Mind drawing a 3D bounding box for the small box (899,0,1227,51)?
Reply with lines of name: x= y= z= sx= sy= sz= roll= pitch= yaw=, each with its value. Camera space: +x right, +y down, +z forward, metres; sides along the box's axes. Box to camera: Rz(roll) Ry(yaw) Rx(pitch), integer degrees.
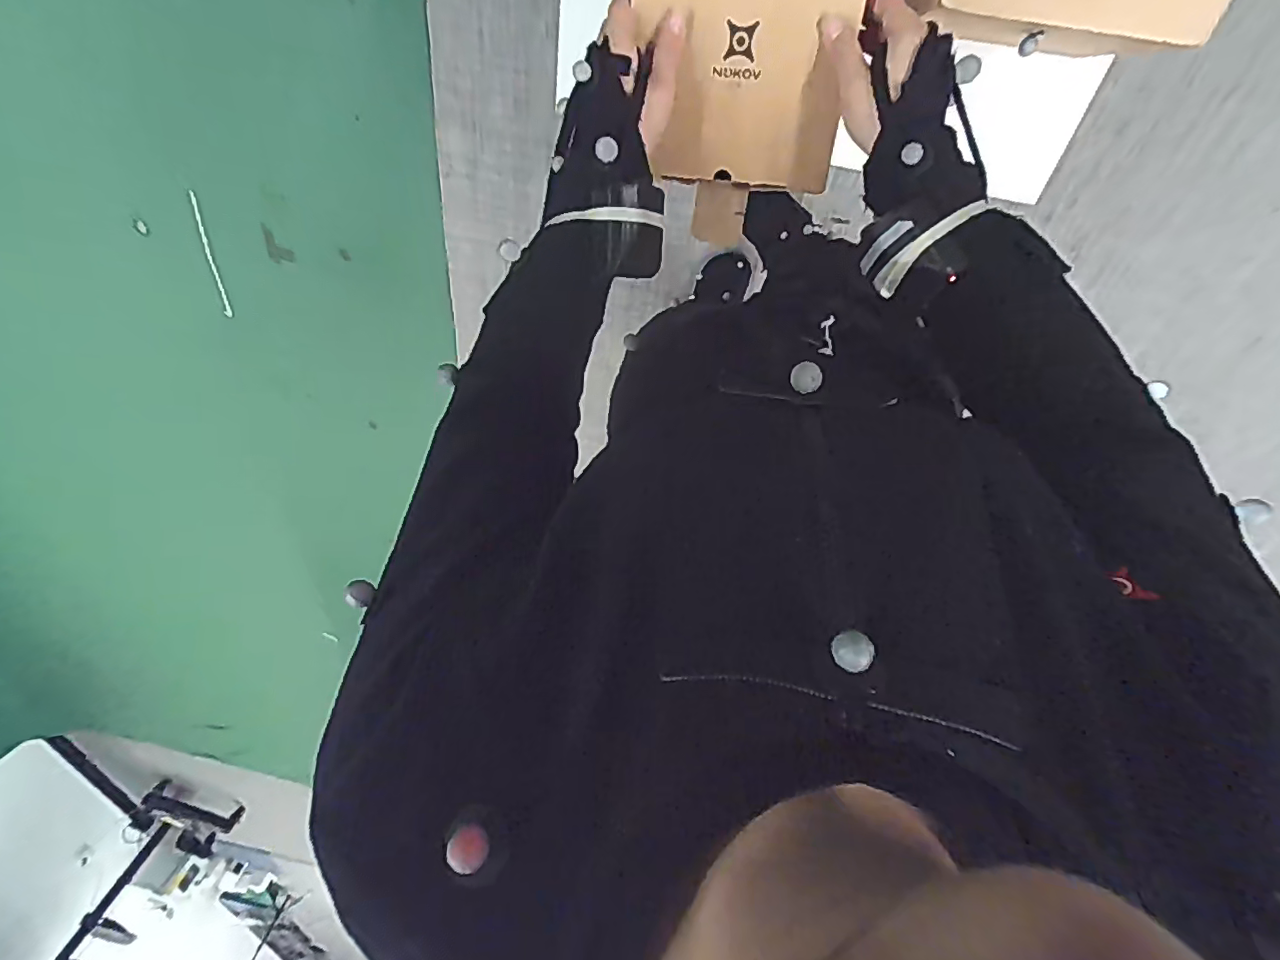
small box: x=0.306 y=-0.412 z=0.372 sx=0.179 sy=0.176 sz=0.168 roll=12 pitch=128 yaw=4
